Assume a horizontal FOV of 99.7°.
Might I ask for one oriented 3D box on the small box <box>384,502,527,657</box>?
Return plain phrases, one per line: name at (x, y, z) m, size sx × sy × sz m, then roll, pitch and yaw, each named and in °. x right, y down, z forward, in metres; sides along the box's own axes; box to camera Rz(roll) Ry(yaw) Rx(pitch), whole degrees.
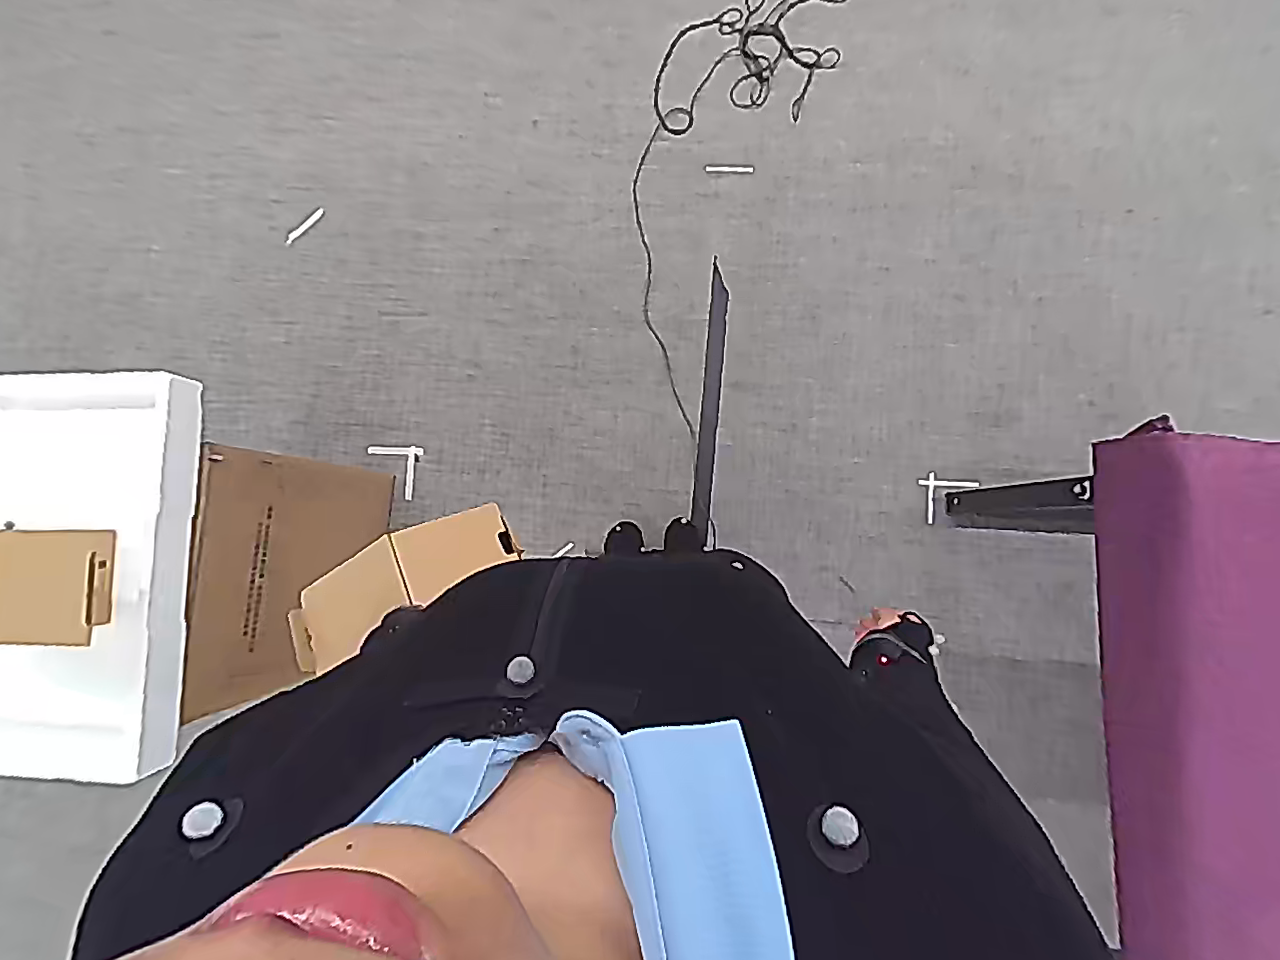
small box at (-0.299, 0.167, 0.893) m, size 0.179 × 0.176 × 0.168 m, roll -17°, pitch 61°, yaw -26°
